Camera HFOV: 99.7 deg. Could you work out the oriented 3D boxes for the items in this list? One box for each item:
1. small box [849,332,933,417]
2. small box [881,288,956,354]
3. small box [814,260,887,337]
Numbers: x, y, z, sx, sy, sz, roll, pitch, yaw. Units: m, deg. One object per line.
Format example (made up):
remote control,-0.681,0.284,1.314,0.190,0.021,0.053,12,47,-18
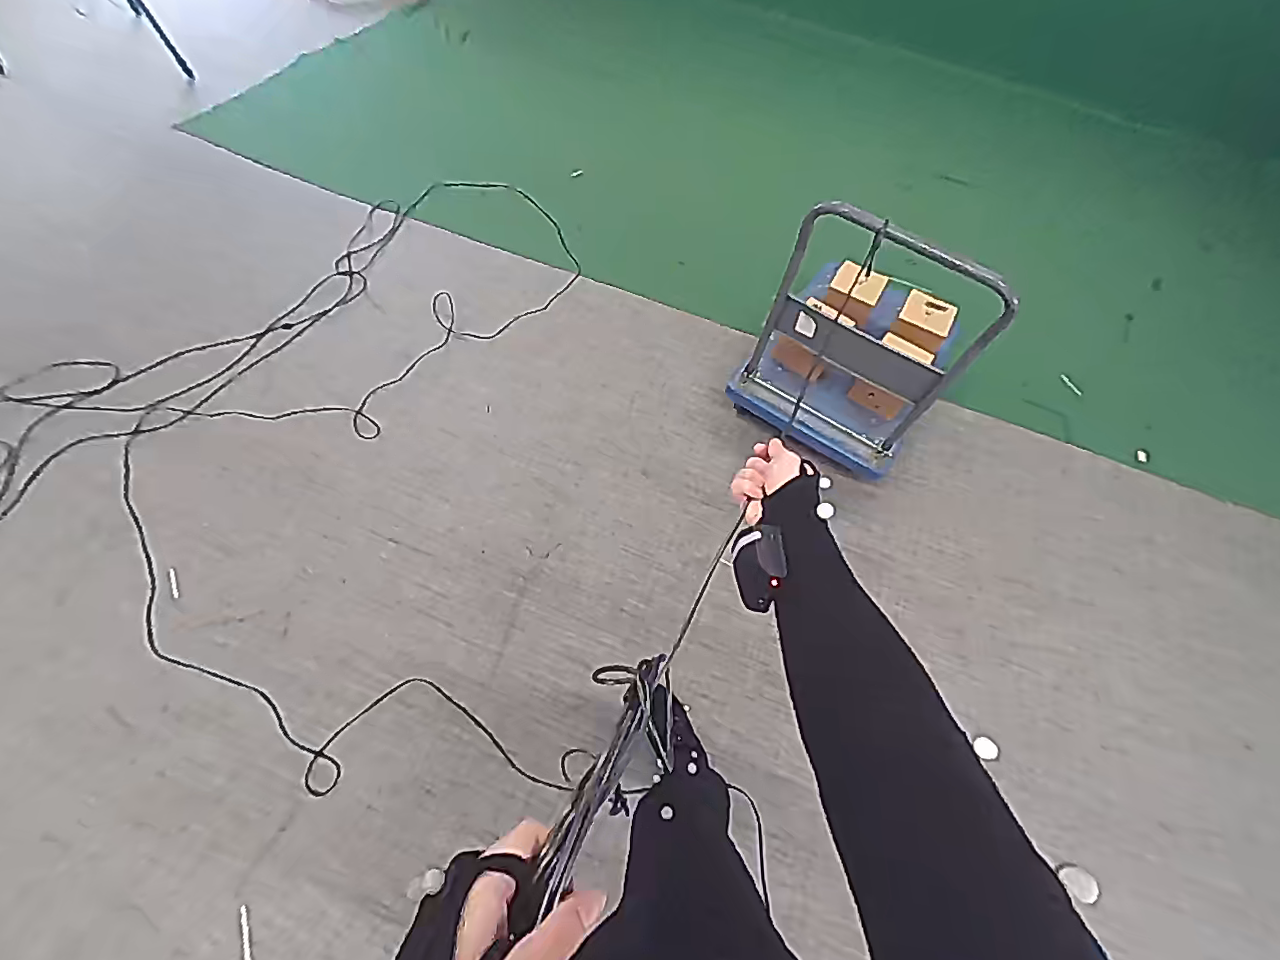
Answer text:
small box,0.812,-0.342,1.765,0.168,0.176,0.179,33,62,14
small box,0.964,-0.527,1.890,0.168,0.176,0.179,29,61,12
small box,0.748,-0.646,1.940,0.168,0.176,0.179,30,61,11
